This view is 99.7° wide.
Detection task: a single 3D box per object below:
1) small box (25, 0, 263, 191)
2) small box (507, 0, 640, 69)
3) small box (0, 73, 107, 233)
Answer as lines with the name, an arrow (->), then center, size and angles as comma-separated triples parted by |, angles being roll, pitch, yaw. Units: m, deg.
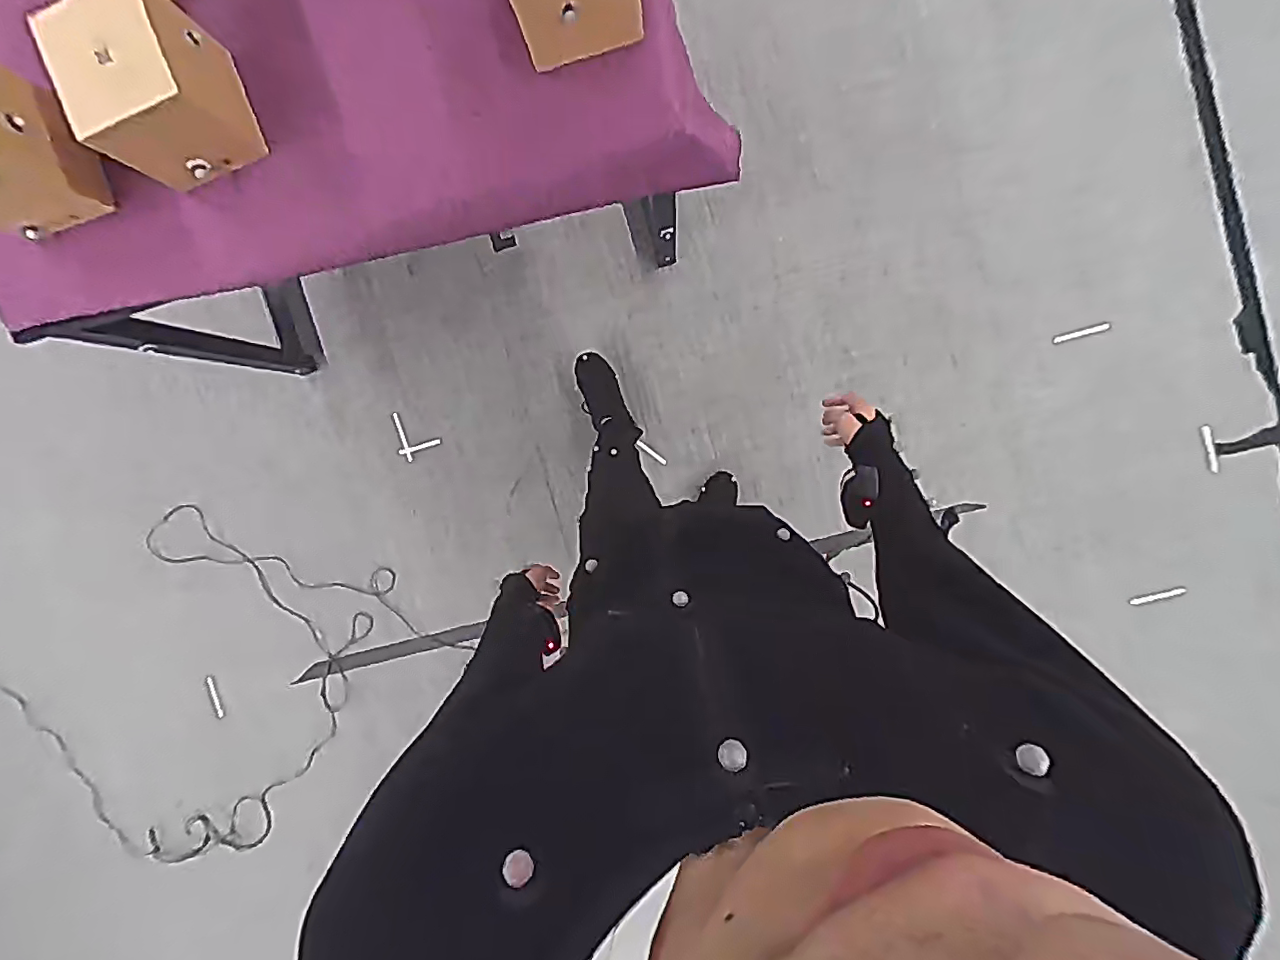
small box -> -0.719, -0.575, 0.805 | 0.168, 0.176, 0.179 | -20, 93, 5
small box -> -0.107, -0.729, 0.758 | 0.179, 0.176, 0.168 | -14, 94, 5
small box -> -0.983, -0.502, 0.822 | 0.168, 0.176, 0.179 | -17, 92, 4
